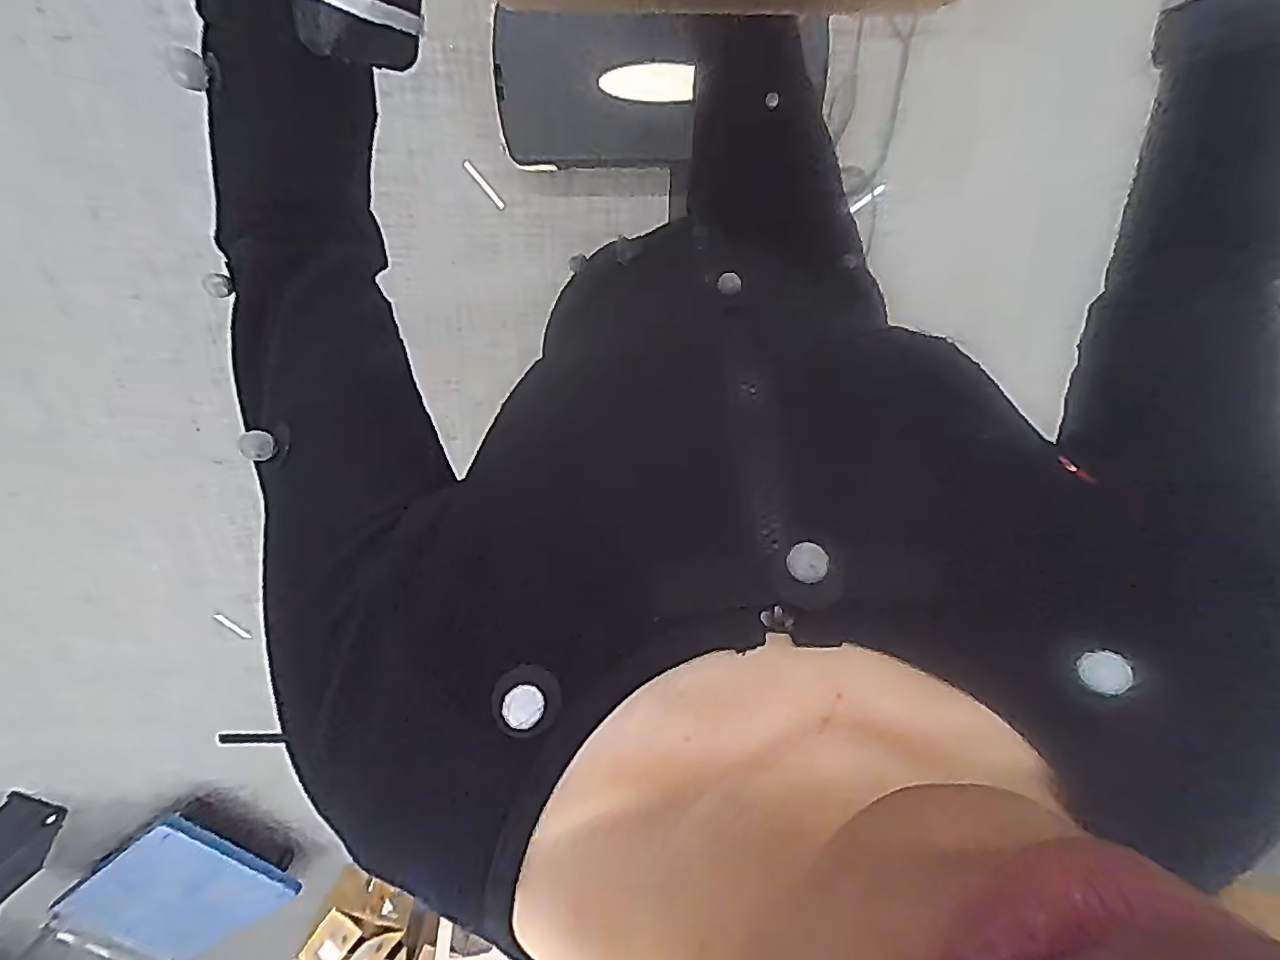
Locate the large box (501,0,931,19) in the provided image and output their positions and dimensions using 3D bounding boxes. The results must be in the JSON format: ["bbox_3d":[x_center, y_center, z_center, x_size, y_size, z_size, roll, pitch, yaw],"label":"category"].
[{"bbox_3d":[0.073,-0.501,0.306,0.408,0.320,0.320,-1,120,-1],"label":"large box"}]
